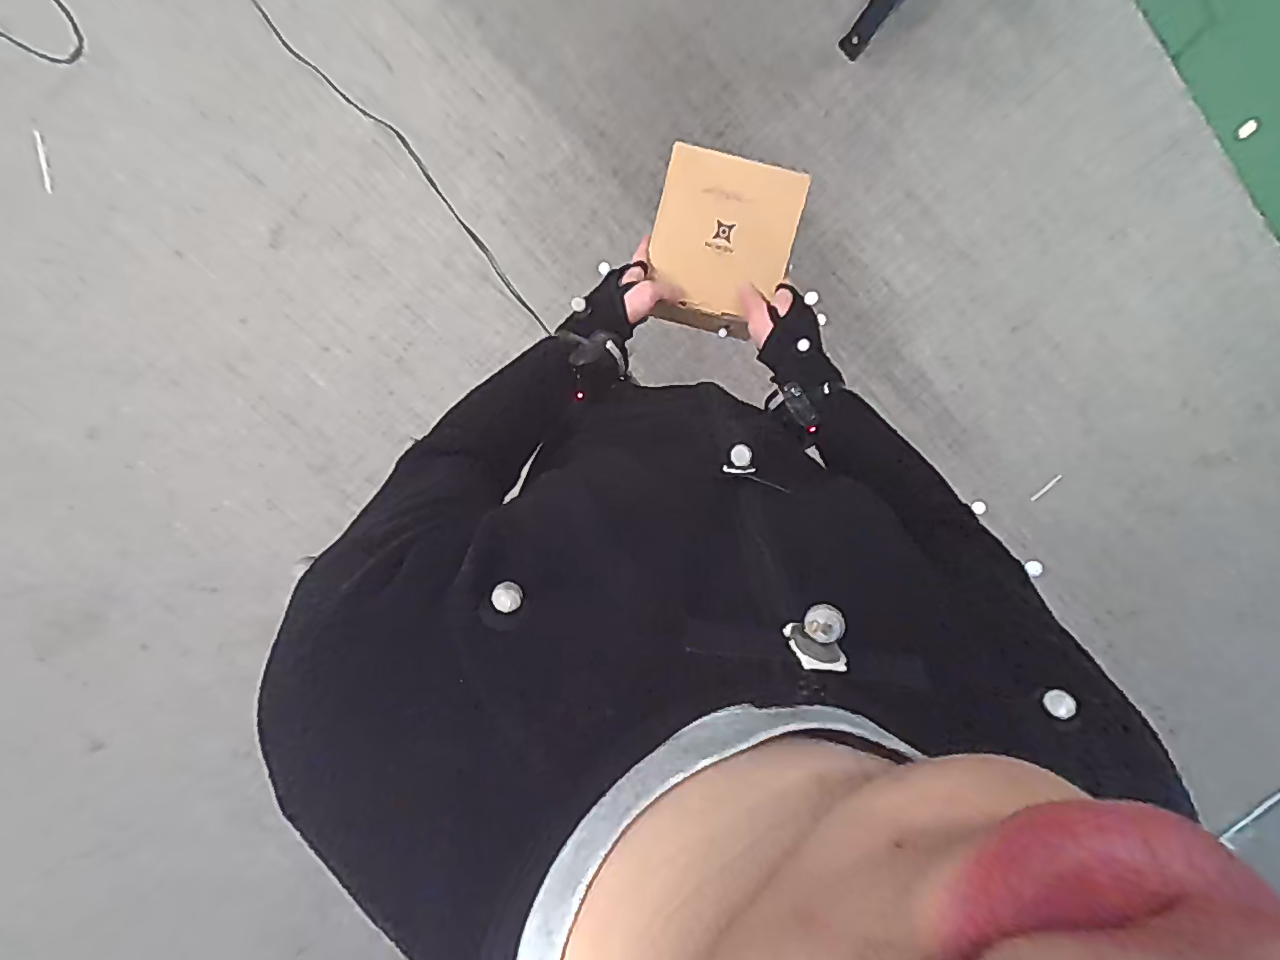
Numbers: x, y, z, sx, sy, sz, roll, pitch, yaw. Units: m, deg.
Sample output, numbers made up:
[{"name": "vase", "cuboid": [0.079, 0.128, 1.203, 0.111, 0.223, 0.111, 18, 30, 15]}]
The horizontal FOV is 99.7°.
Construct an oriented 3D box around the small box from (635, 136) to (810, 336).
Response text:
[{"name": "small box", "cuboid": [0.097, -0.295, 0.698, 0.168, 0.176, 0.179, 14, 97, -1]}]
